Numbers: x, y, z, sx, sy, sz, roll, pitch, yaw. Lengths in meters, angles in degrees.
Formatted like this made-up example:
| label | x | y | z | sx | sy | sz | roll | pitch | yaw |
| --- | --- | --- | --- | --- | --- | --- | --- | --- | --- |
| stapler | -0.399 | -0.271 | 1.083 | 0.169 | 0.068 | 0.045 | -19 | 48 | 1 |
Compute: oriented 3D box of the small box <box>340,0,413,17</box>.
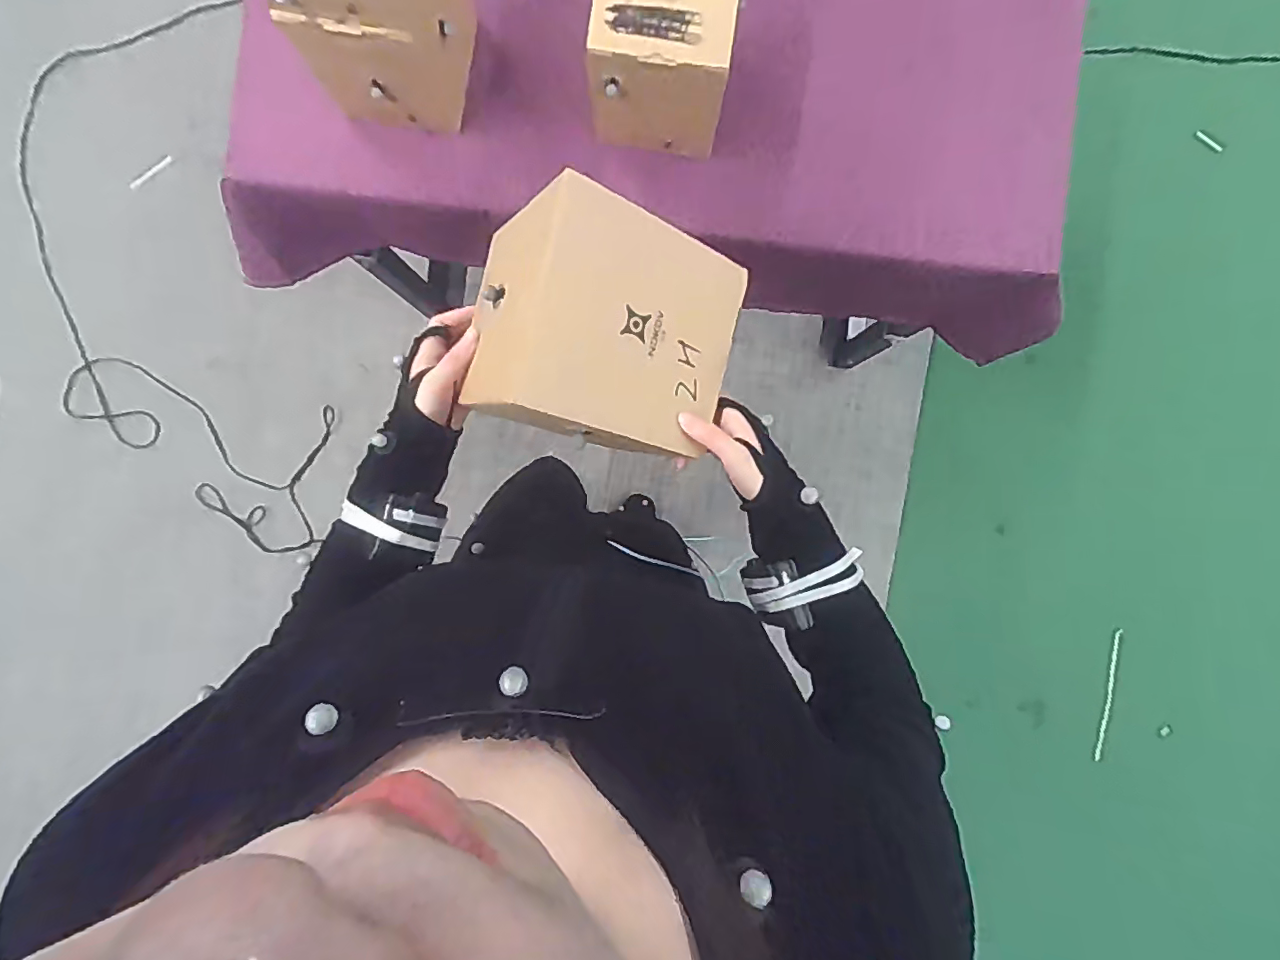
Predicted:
| label | x | y | z | sx | sy | sz | roll | pitch | yaw |
| --- | --- | --- | --- | --- | --- | --- | --- | --- | --- |
| small box | -0.312 | -0.603 | 0.516 | 0.168 | 0.176 | 0.179 | 10 | 89 | -2 |

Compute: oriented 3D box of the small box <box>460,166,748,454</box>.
| label | x | y | z | sx | sy | sz | roll | pitch | yaw |
| --- | --- | --- | --- | --- | --- | --- | --- | --- | --- |
| small box | -0.041 | -0.128 | 0.478 | 0.179 | 0.176 | 0.168 | 15 | 90 | -33 |

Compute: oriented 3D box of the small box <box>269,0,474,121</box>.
| label | x | y | z | sx | sy | sz | roll | pitch | yaw |
| --- | --- | --- | --- | --- | --- | --- | --- | --- | --- |
| small box | -0.321 | -0.597 | 0.681 | 0.168 | 0.176 | 0.179 | 10 | 91 | -2 |
